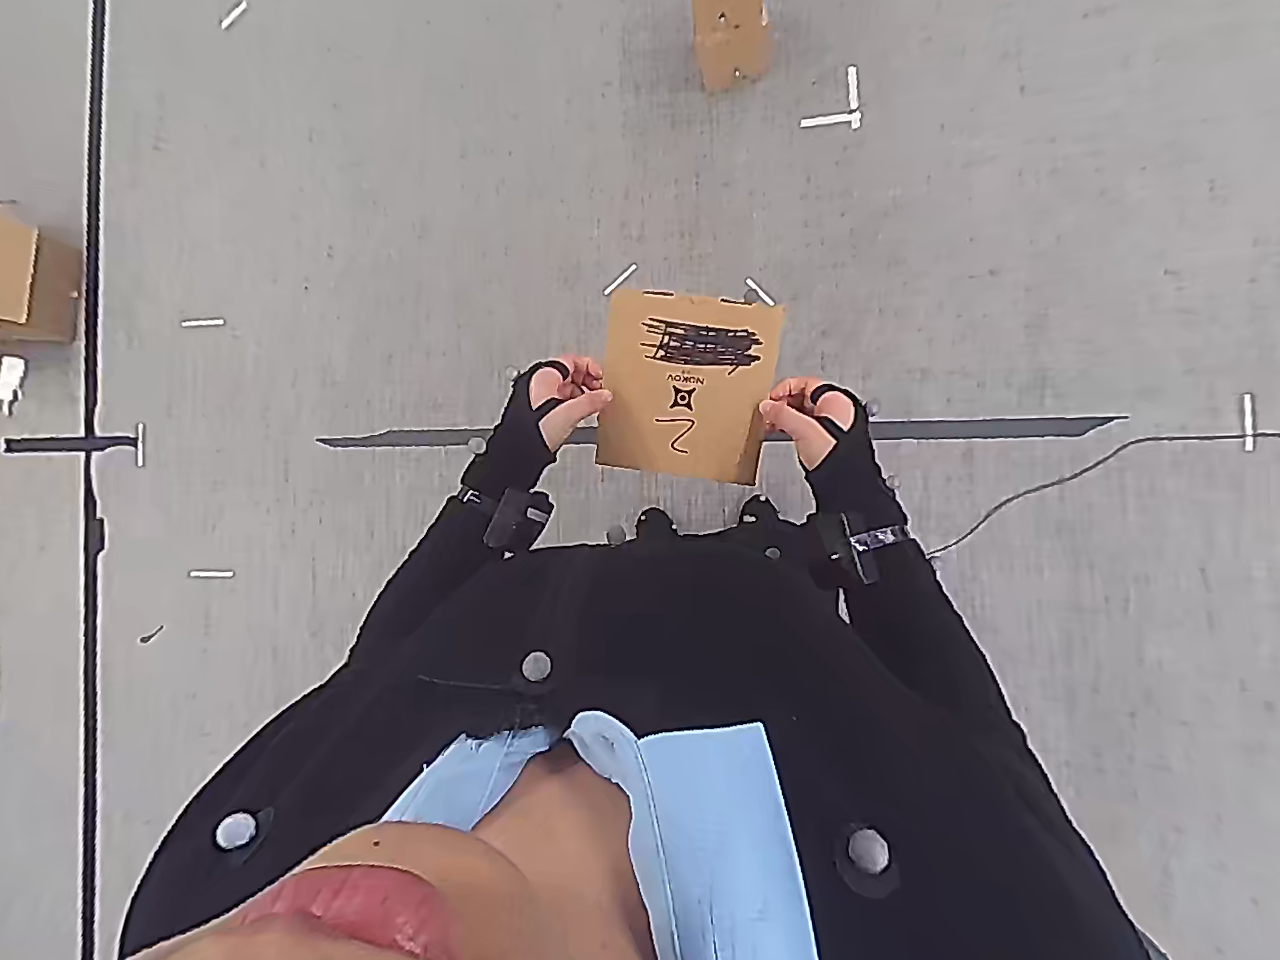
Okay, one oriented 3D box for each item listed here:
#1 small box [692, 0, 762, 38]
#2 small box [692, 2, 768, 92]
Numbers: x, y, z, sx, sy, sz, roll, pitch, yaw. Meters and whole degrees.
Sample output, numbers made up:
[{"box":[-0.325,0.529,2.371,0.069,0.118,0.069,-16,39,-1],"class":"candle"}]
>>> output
[{"box":[0.206,-1.209,1.284,0.168,0.176,0.179,-1,88,8],"class":"small box"},{"box":[0.235,-1.196,1.444,0.168,0.176,0.179,-13,86,8],"class":"small box"}]
